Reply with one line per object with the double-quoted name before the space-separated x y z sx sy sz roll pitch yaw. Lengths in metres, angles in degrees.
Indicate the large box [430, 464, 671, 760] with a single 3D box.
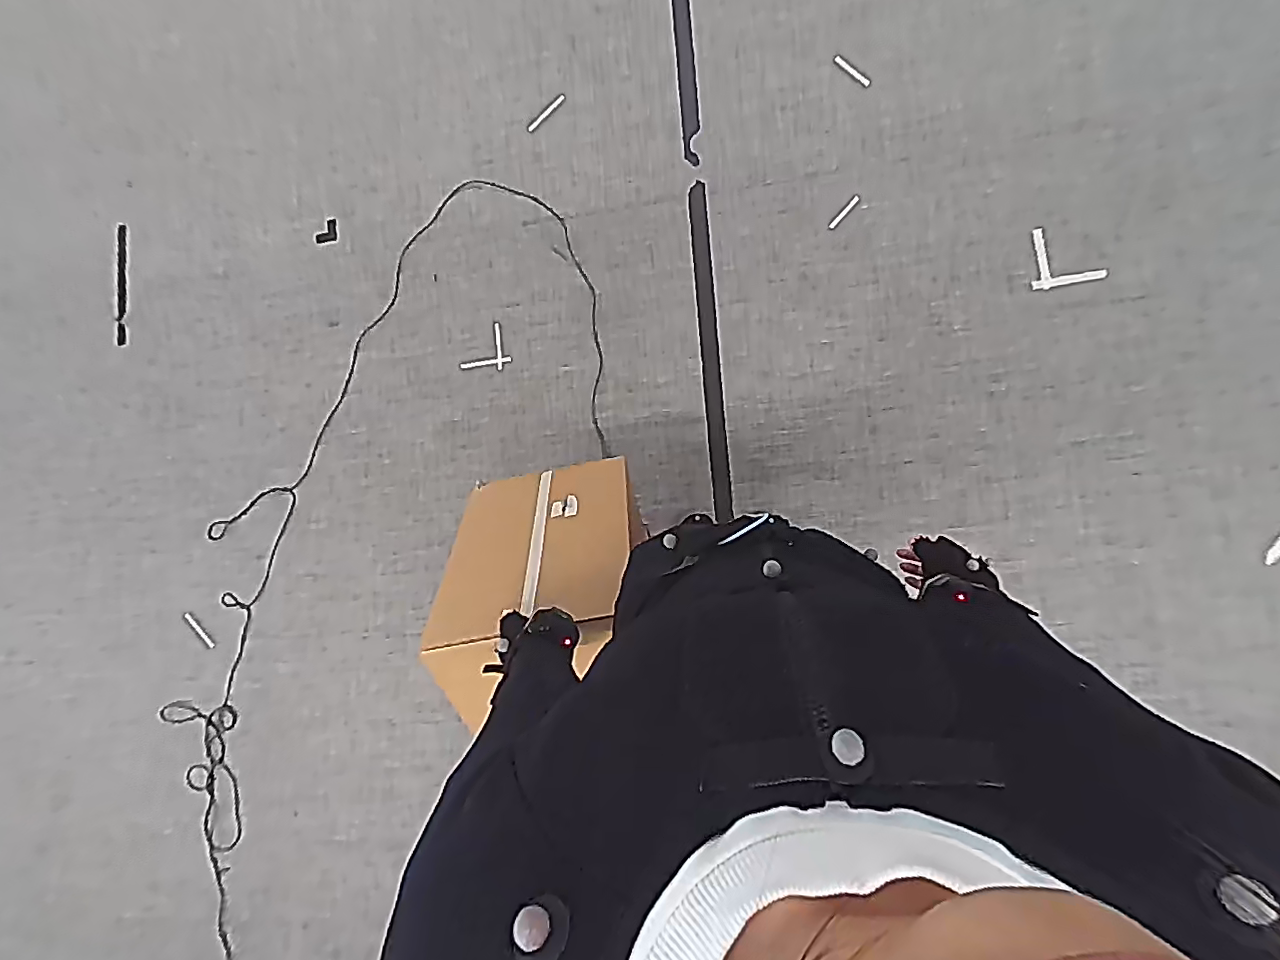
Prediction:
"large box" -0.137 0.227 1.002 0.320 0.408 0.320 -11 123 3
